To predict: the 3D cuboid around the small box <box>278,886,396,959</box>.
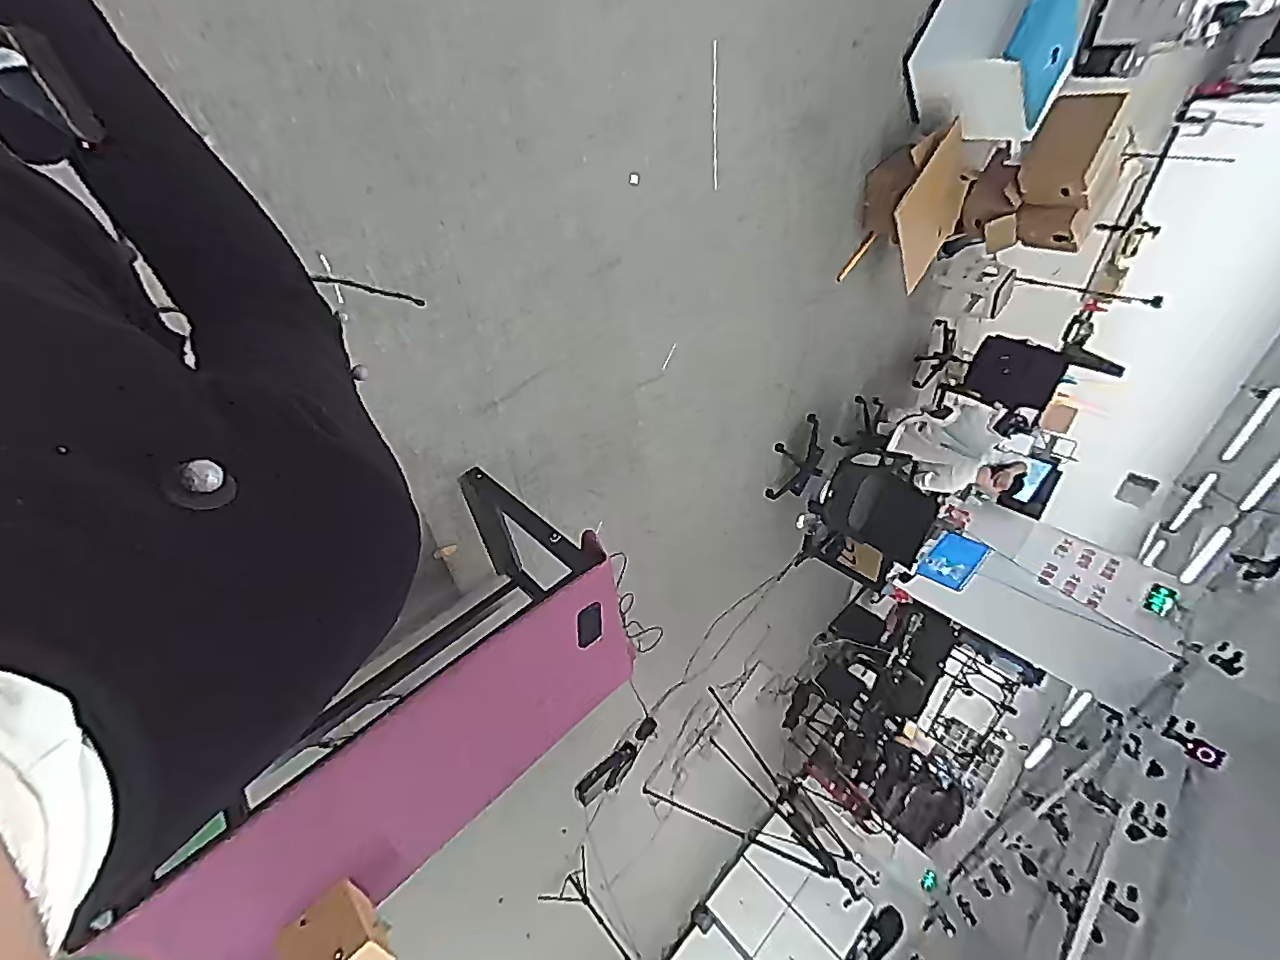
[{"bbox_3d":[-0.713,1.115,1.277,0.168,0.176,0.179,-34,137,-31],"label":"small box"}]
